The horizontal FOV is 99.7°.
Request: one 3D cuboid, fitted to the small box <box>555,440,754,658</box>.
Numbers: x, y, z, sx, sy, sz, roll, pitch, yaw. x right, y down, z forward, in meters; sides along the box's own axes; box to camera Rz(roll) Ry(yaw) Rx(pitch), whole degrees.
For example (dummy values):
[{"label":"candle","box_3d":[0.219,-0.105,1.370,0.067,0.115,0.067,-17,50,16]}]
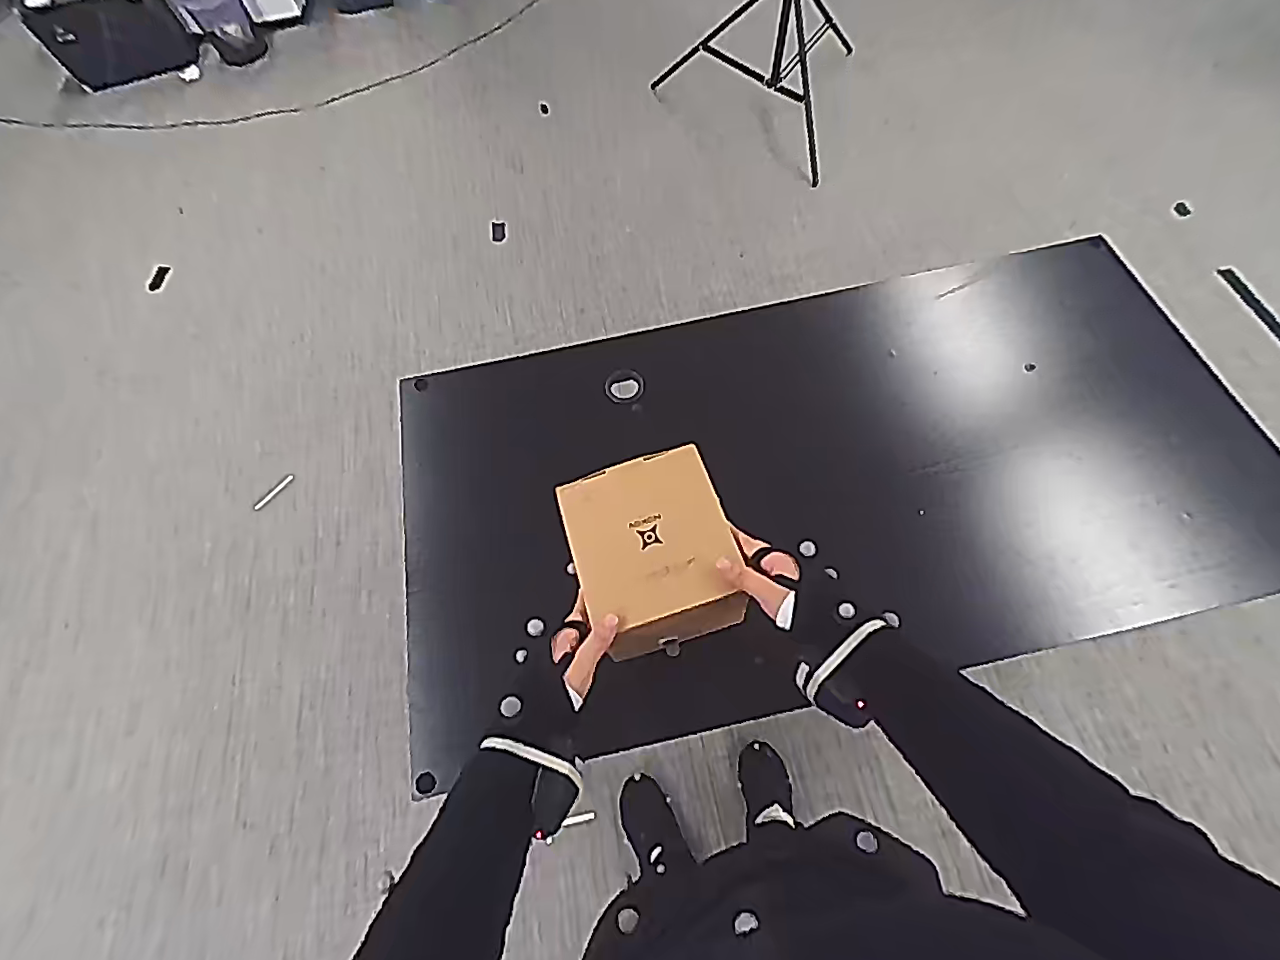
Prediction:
[{"label":"small box","box_3d":[0.017,0.087,0.623,0.168,0.176,0.179,-19,64,-2]}]
